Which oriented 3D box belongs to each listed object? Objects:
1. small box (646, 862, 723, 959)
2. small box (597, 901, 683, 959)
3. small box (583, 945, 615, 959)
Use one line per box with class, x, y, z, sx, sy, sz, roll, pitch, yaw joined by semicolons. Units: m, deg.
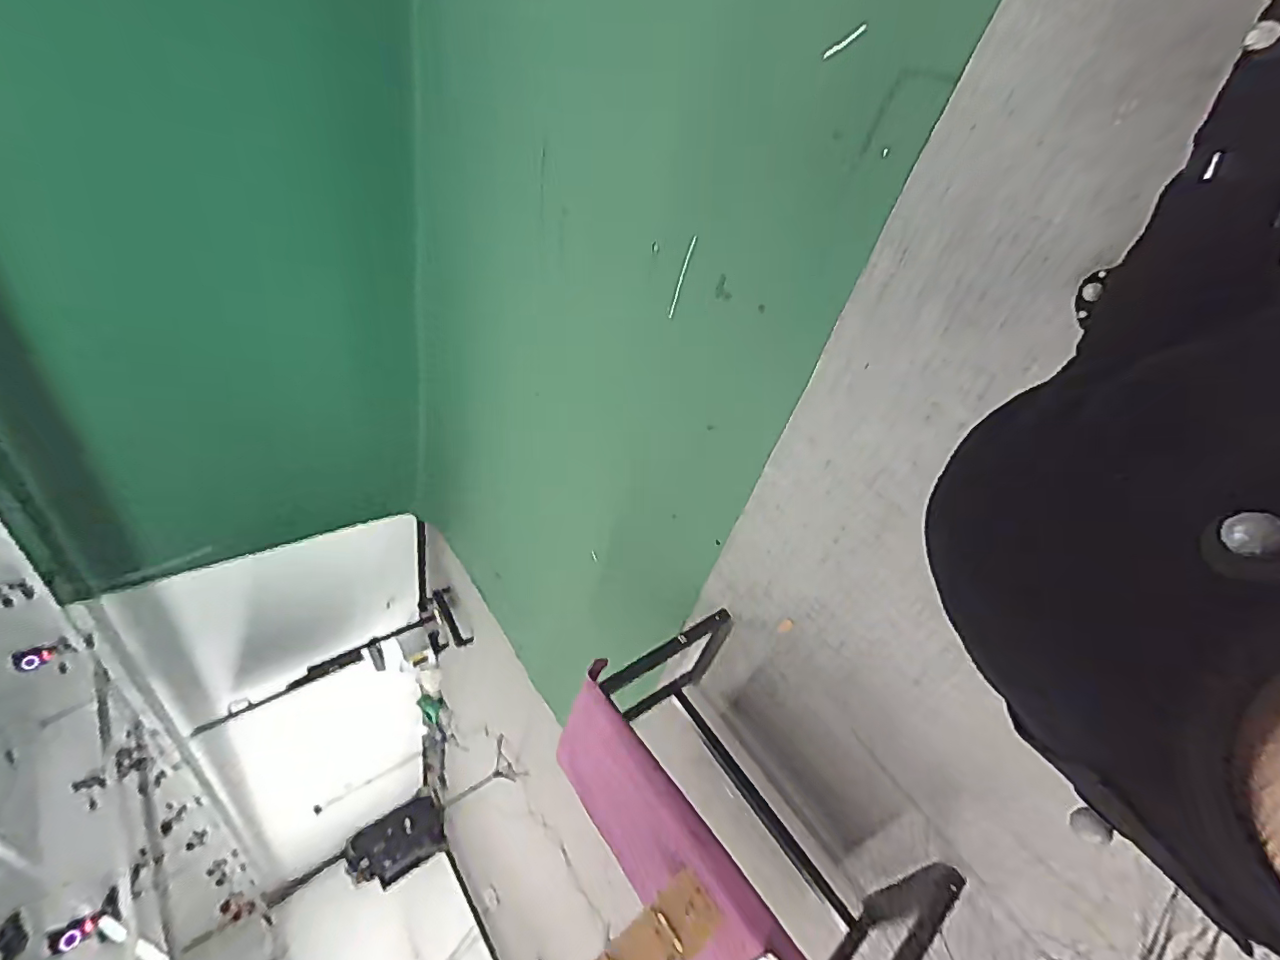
small box;0.120;1.278;1.597;0.168;0.176;0.179;48;136;30
small box;-0.003;1.315;1.494;0.168;0.176;0.179;47;138;29
small box;-0.127;1.352;1.394;0.168;0.176;0.179;49;138;29
